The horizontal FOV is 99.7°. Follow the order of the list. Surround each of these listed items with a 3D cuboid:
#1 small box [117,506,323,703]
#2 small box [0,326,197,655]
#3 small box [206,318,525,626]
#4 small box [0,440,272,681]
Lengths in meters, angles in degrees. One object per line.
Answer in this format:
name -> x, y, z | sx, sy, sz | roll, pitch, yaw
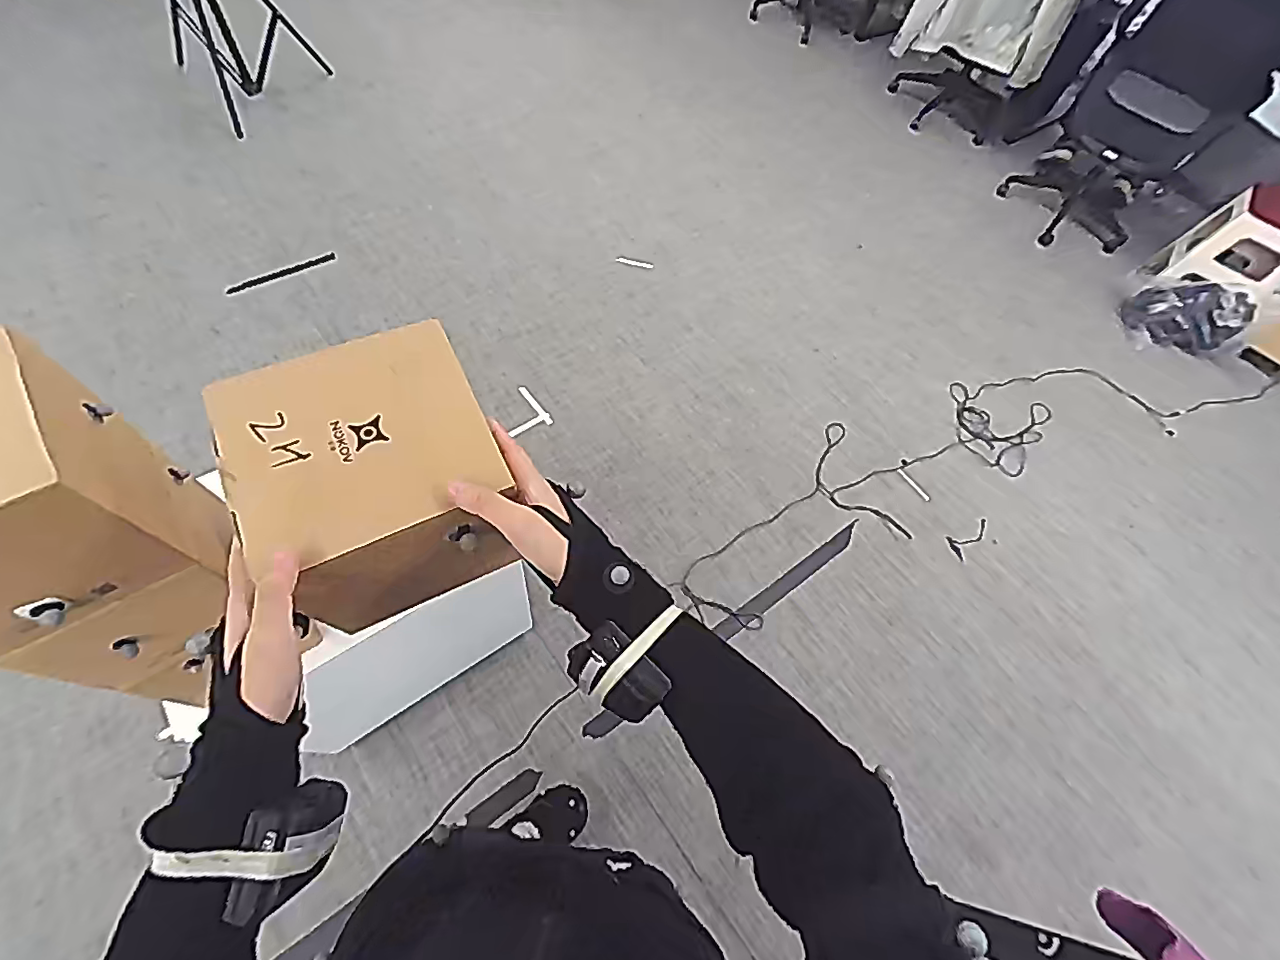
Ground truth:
small box -> -0.565, 0.172, 0.724 | 0.168, 0.176, 0.179 | -30, 69, -21
small box -> -0.522, 0.016, 0.443 | 0.168, 0.176, 0.179 | -32, 71, -22
small box -> -0.205, 0.002, 0.454 | 0.179, 0.176, 0.168 | -24, 70, -16
small box -> -0.543, 0.095, 0.583 | 0.168, 0.176, 0.179 | -32, 70, -22
